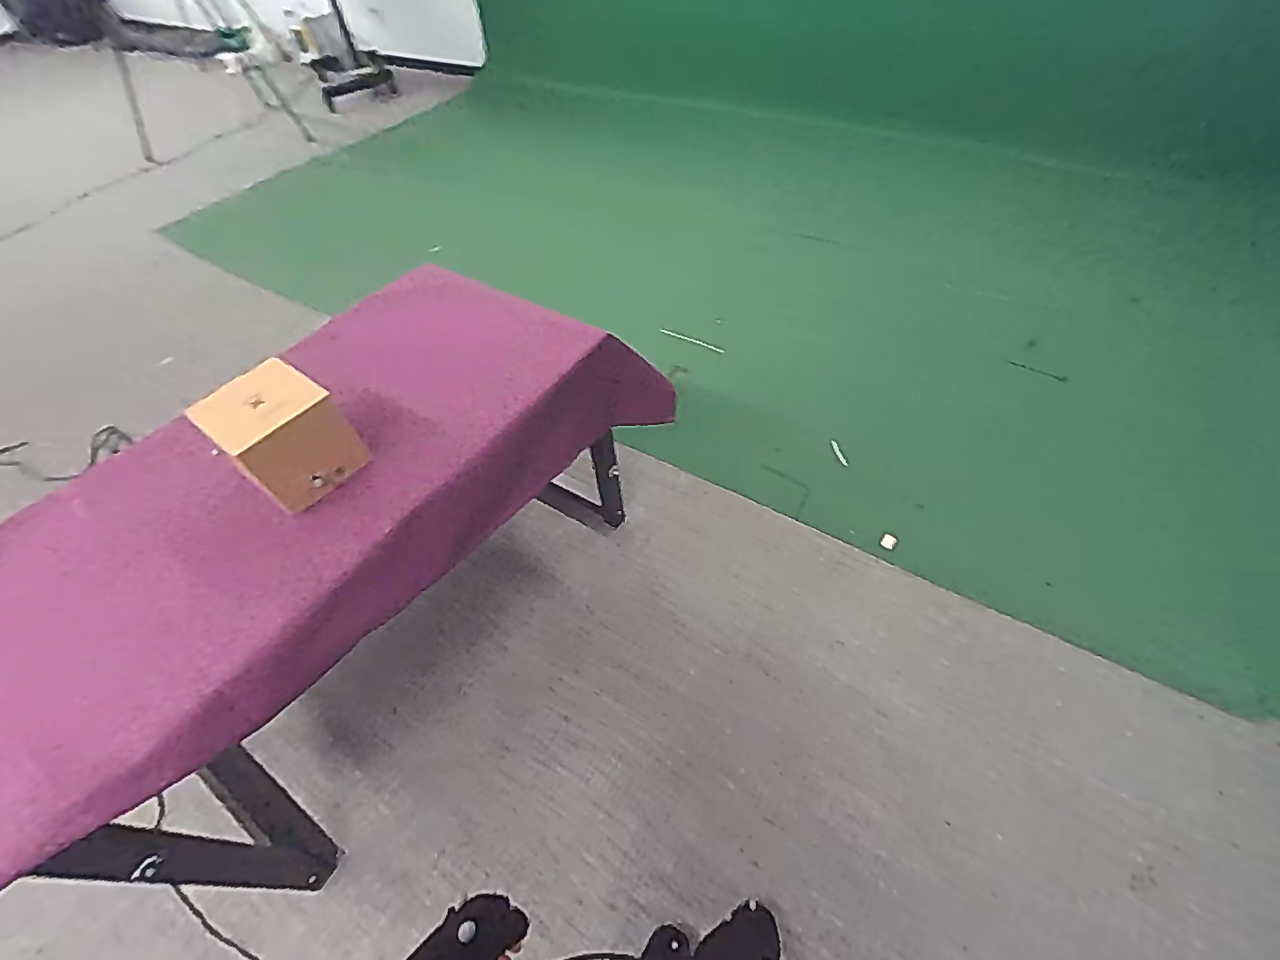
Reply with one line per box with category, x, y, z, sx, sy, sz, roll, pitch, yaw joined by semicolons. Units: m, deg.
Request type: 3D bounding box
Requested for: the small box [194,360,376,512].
small box;-0.607;-0.073;0.943;0.179;0.176;0.168;30;60;25
